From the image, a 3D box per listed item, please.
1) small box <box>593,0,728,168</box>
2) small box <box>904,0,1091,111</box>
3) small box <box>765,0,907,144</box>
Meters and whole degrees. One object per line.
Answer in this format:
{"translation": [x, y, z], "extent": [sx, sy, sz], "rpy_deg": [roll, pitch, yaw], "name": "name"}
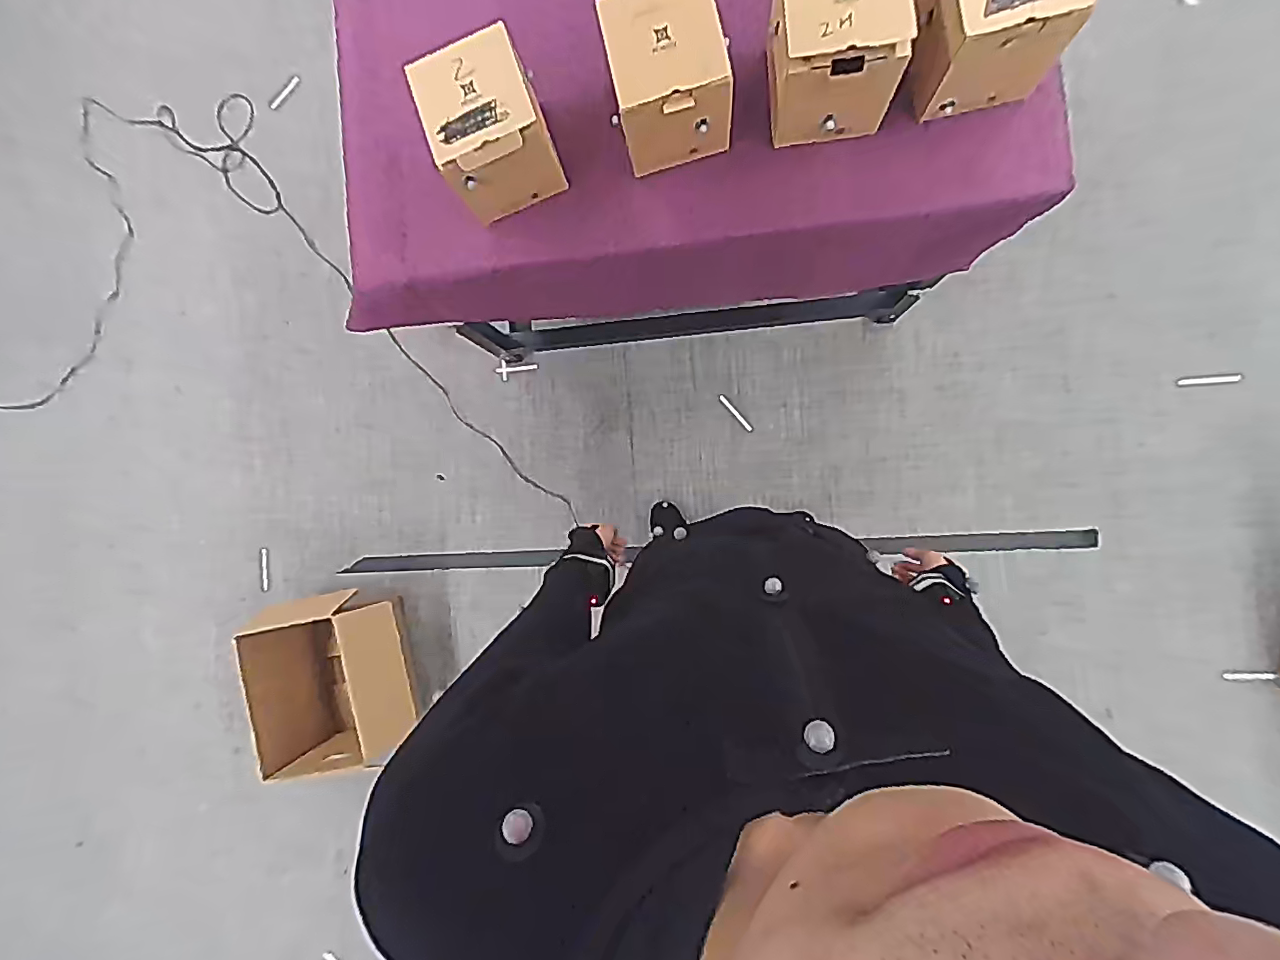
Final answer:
{"translation": [0.038, -0.623, 0.843], "extent": [0.168, 0.176, 0.179], "rpy_deg": [-13, 87, 6], "name": "small box"}
{"translation": [0.499, -0.677, 0.785], "extent": [0.168, 0.176, 0.179], "rpy_deg": [-9, 87, 7], "name": "small box"}
{"translation": [0.282, -0.648, 0.811], "extent": [0.168, 0.176, 0.179], "rpy_deg": [-3, 89, 7], "name": "small box"}
